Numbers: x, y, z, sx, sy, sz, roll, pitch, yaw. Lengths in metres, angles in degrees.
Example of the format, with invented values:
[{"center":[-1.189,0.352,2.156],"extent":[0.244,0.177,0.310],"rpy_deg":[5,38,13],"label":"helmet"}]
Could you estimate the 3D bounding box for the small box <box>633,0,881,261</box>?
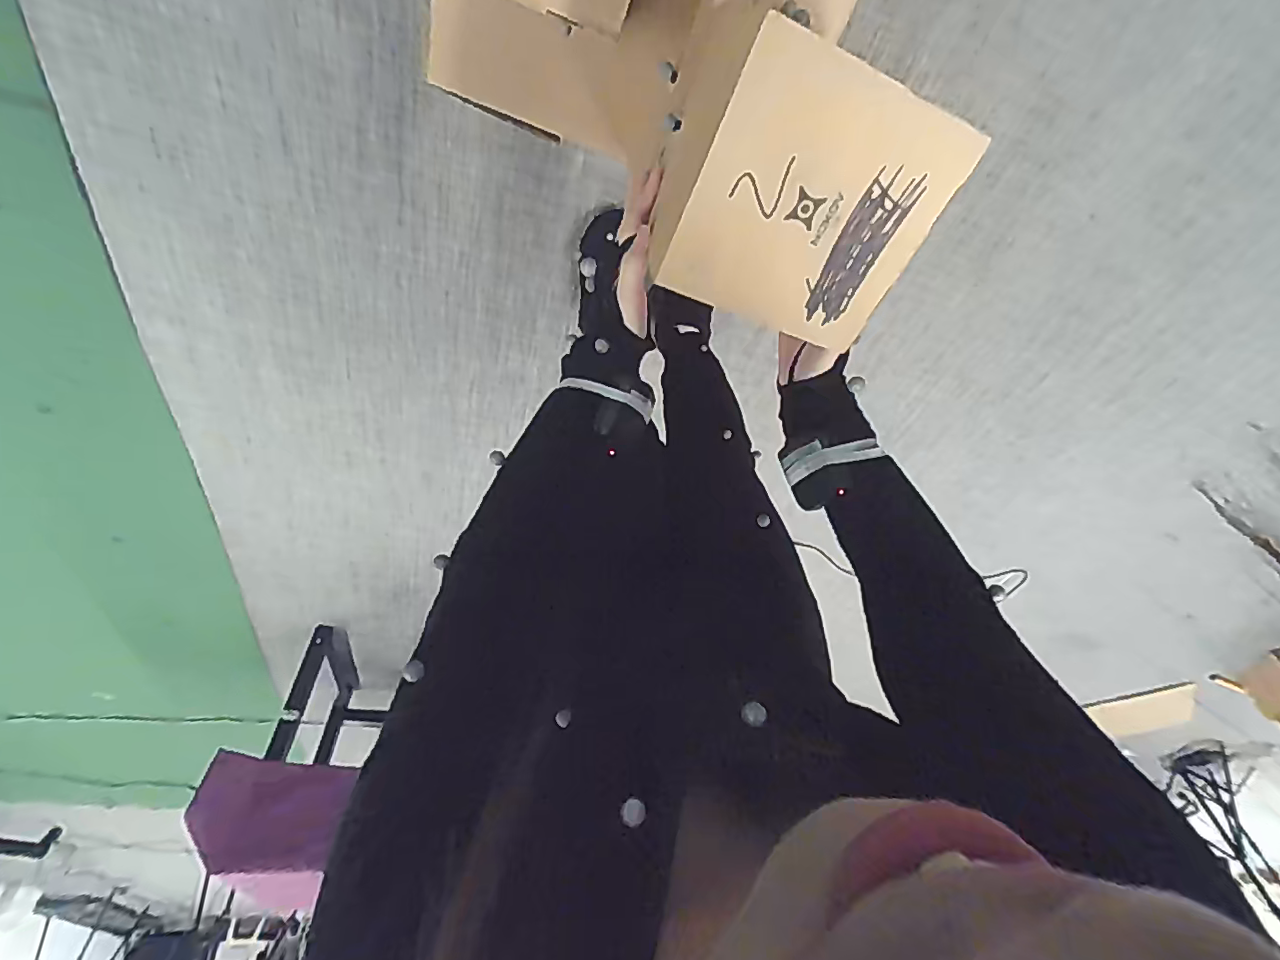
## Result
[{"center":[0.096,-0.362,0.548],"extent":[0.168,0.176,0.179],"rpy_deg":[15,131,-18],"label":"small box"}]
